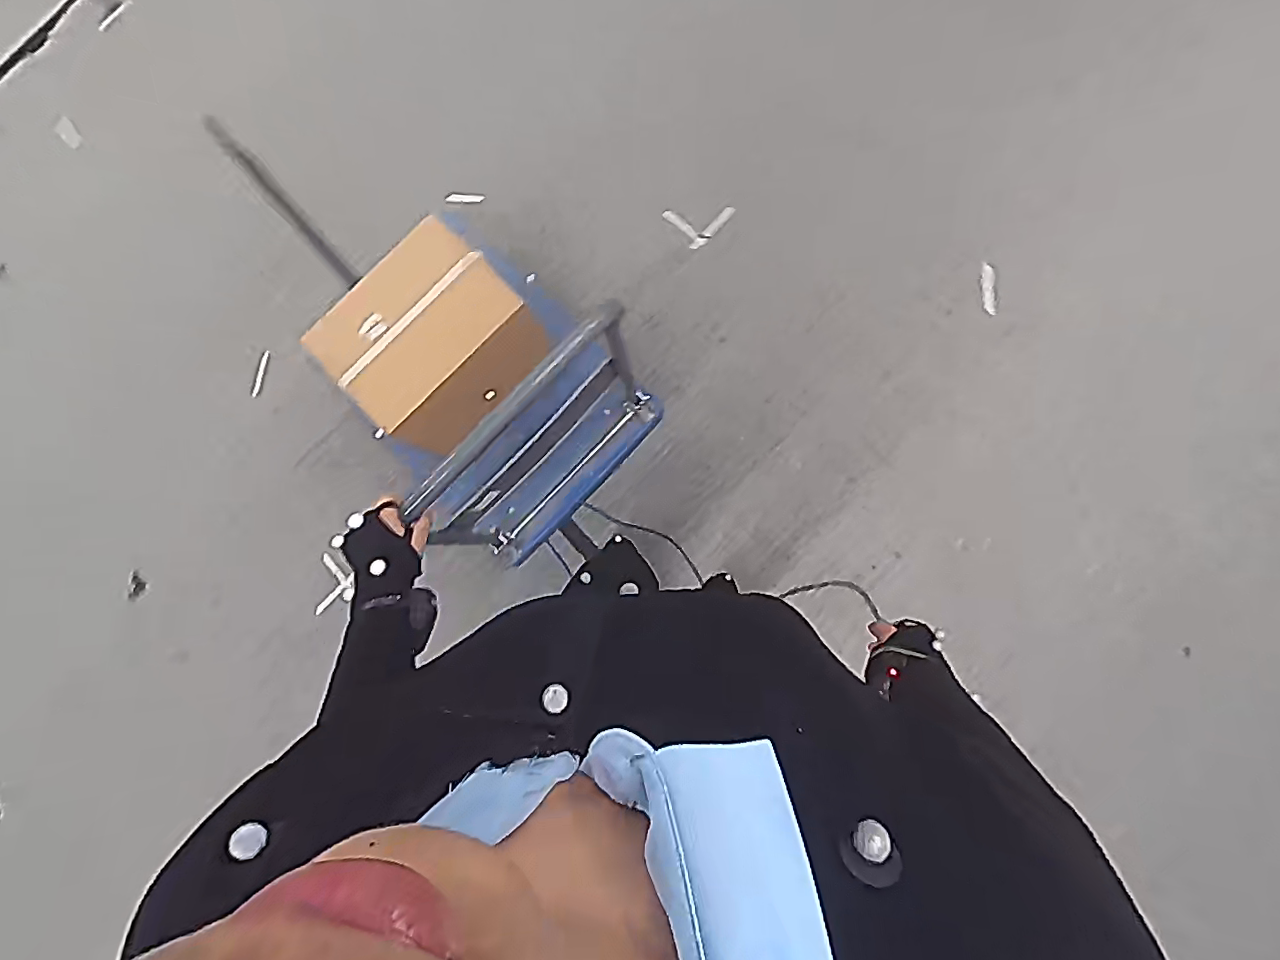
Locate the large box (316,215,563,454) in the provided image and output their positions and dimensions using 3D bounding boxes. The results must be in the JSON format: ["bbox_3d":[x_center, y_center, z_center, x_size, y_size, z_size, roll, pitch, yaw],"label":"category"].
[{"bbox_3d":[-0.458,-0.326,1.315,0.408,0.320,0.320,-45,79,0],"label":"large box"}]
